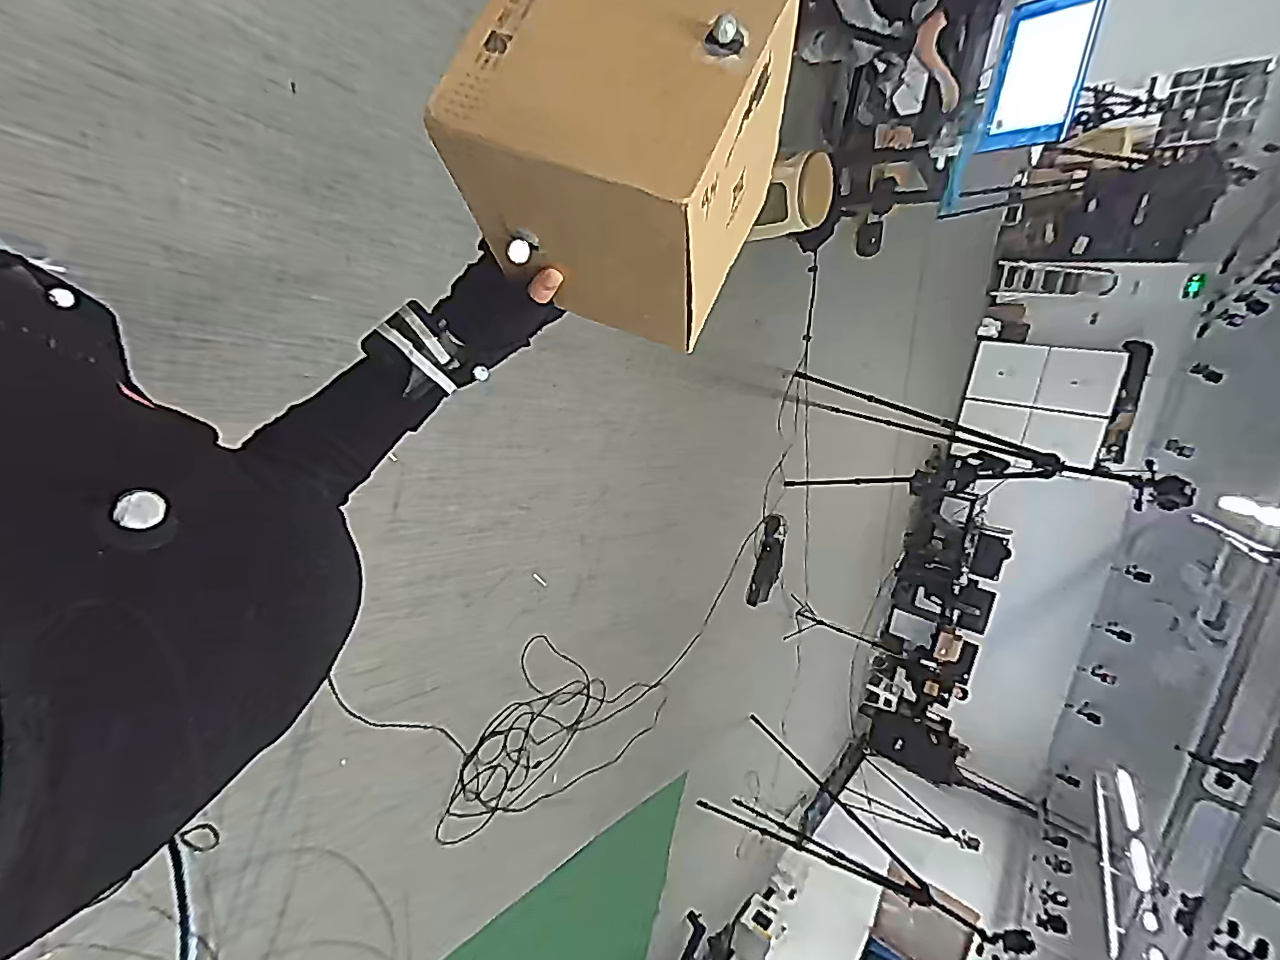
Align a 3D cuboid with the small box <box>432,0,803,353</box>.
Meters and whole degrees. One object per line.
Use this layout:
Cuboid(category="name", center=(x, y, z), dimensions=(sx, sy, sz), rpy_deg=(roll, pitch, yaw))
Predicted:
Cuboid(category="small box", center=(-0.010, -0.225, 0.386), dimensions=(0.179, 0.176, 0.168), rpy_deg=(74, 40, -77))
